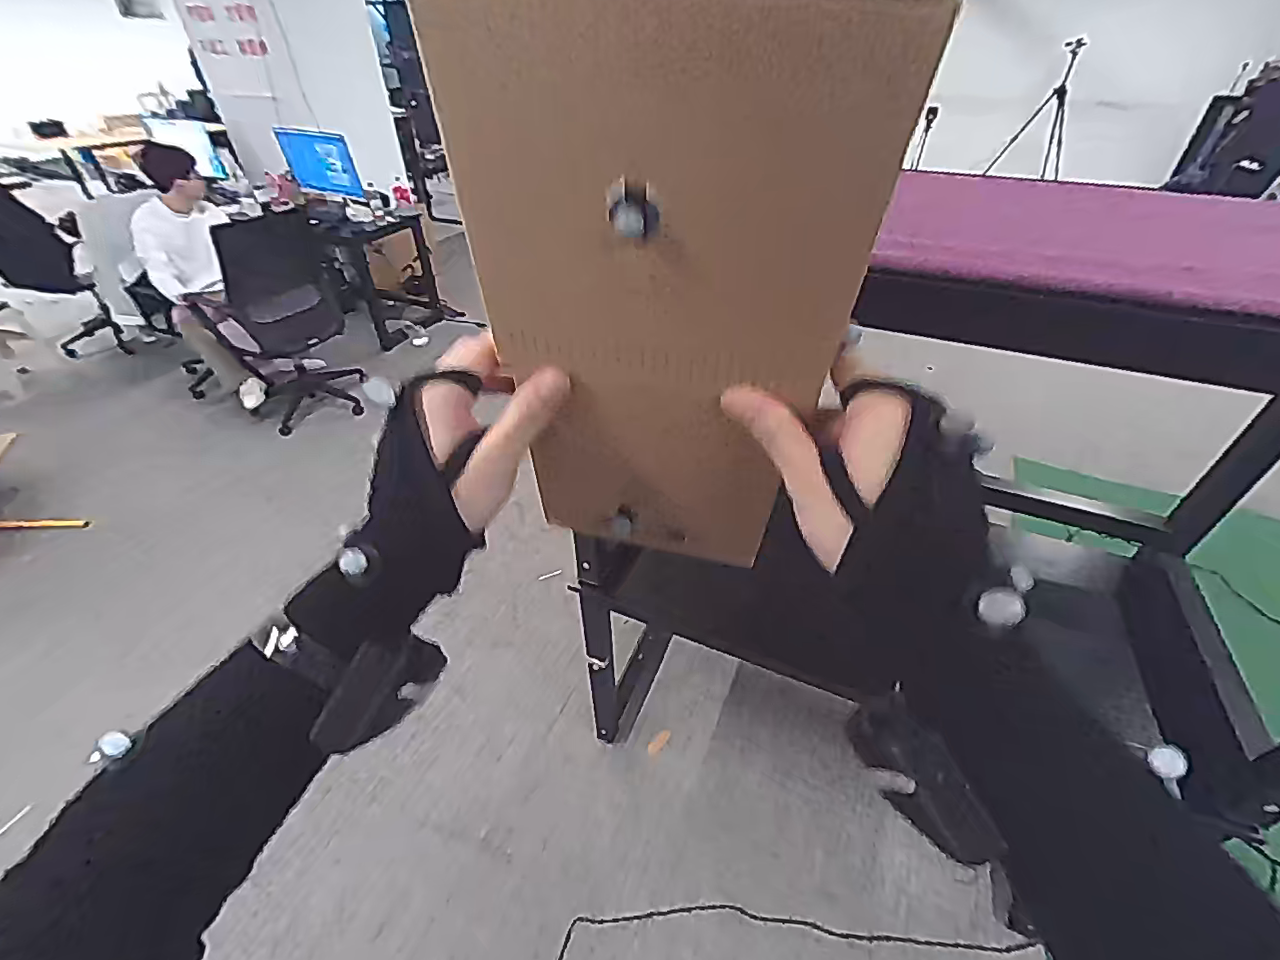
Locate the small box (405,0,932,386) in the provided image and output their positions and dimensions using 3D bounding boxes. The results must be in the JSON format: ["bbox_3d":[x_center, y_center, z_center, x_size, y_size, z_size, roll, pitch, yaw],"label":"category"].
[{"bbox_3d":[0.020,-0.169,0.277,0.179,0.176,0.168,10,52,9],"label":"small box"}]

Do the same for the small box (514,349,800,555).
[{"bbox_3d":[0.022,-0.071,0.409,0.168,0.176,0.179,11,52,8],"label":"small box"}]
